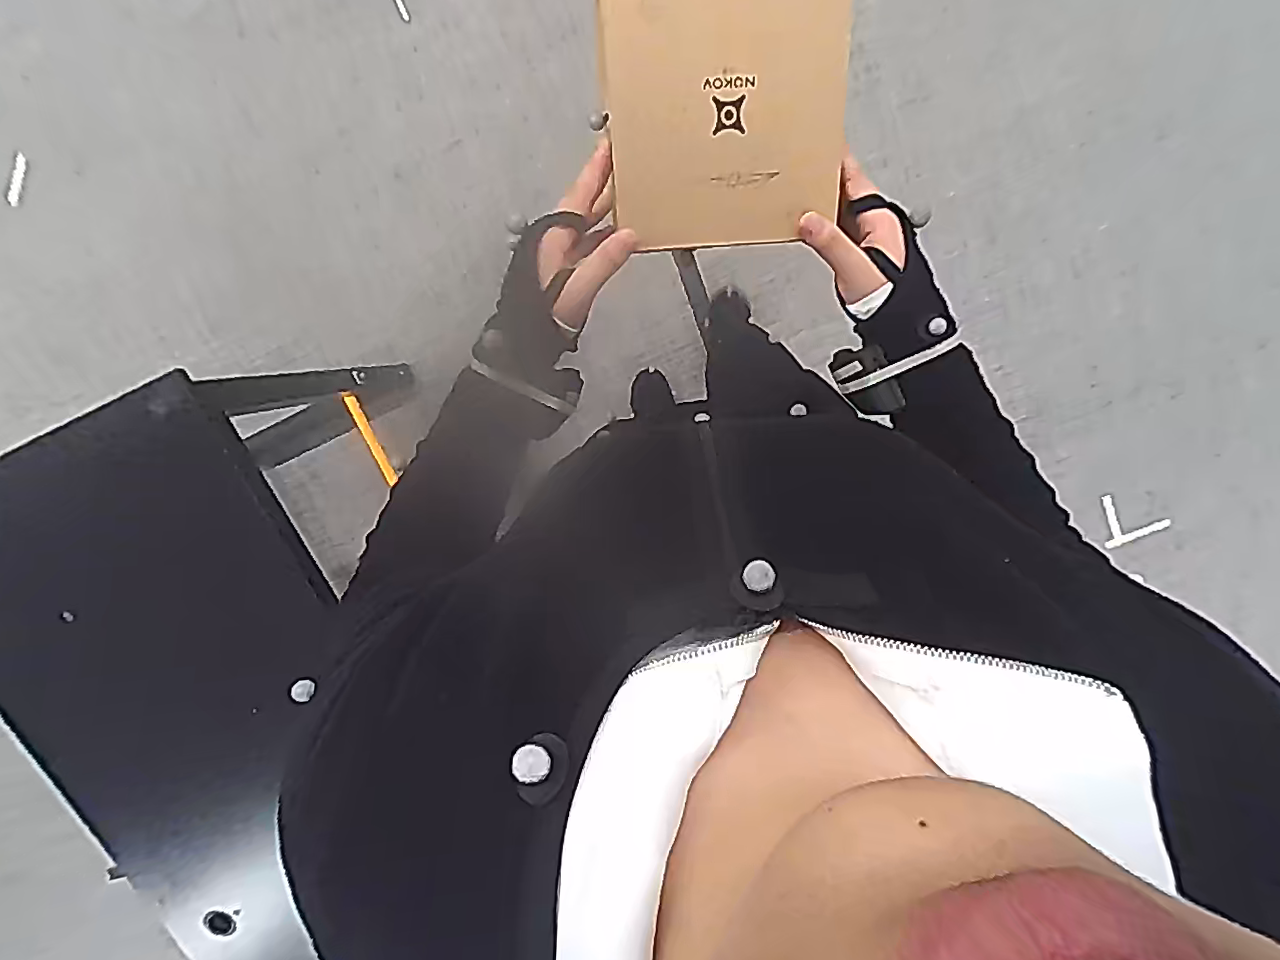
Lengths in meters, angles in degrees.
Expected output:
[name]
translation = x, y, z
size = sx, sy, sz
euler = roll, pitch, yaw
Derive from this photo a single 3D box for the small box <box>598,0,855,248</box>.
[small box]
translation = 0.054, -0.289, 0.438
size = 0.168, 0.176, 0.179
euler = -5, 113, -2
